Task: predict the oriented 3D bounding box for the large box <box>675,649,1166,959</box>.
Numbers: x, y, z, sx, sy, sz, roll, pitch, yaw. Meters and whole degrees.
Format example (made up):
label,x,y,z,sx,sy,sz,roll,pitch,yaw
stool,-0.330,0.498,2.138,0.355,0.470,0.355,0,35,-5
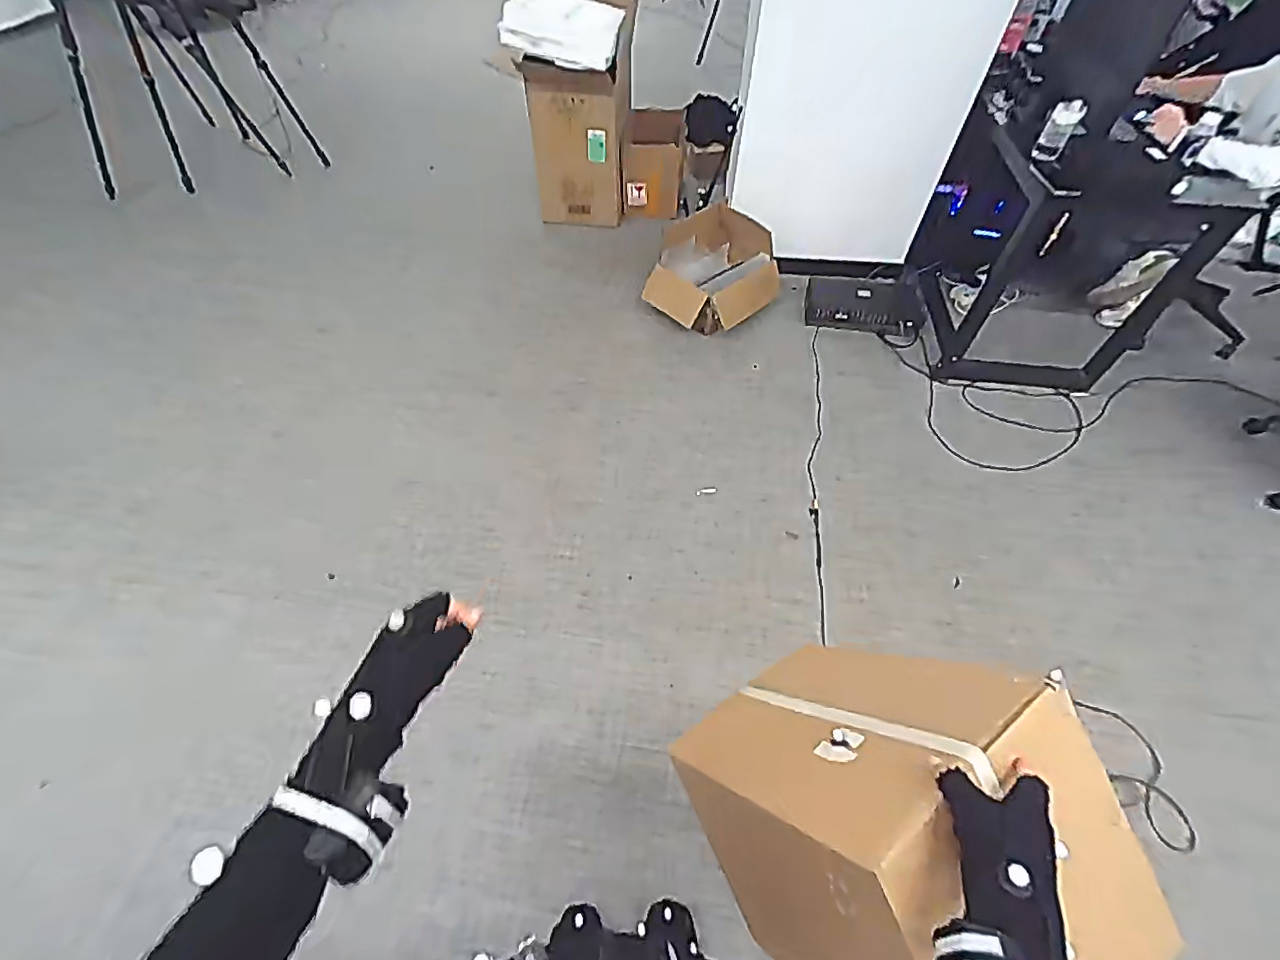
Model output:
label,x,y,z,sx,sy,sz,roll,pitch,yaw
large box,0.310,0.448,0.696,0.320,0.408,0.320,-24,90,-25
